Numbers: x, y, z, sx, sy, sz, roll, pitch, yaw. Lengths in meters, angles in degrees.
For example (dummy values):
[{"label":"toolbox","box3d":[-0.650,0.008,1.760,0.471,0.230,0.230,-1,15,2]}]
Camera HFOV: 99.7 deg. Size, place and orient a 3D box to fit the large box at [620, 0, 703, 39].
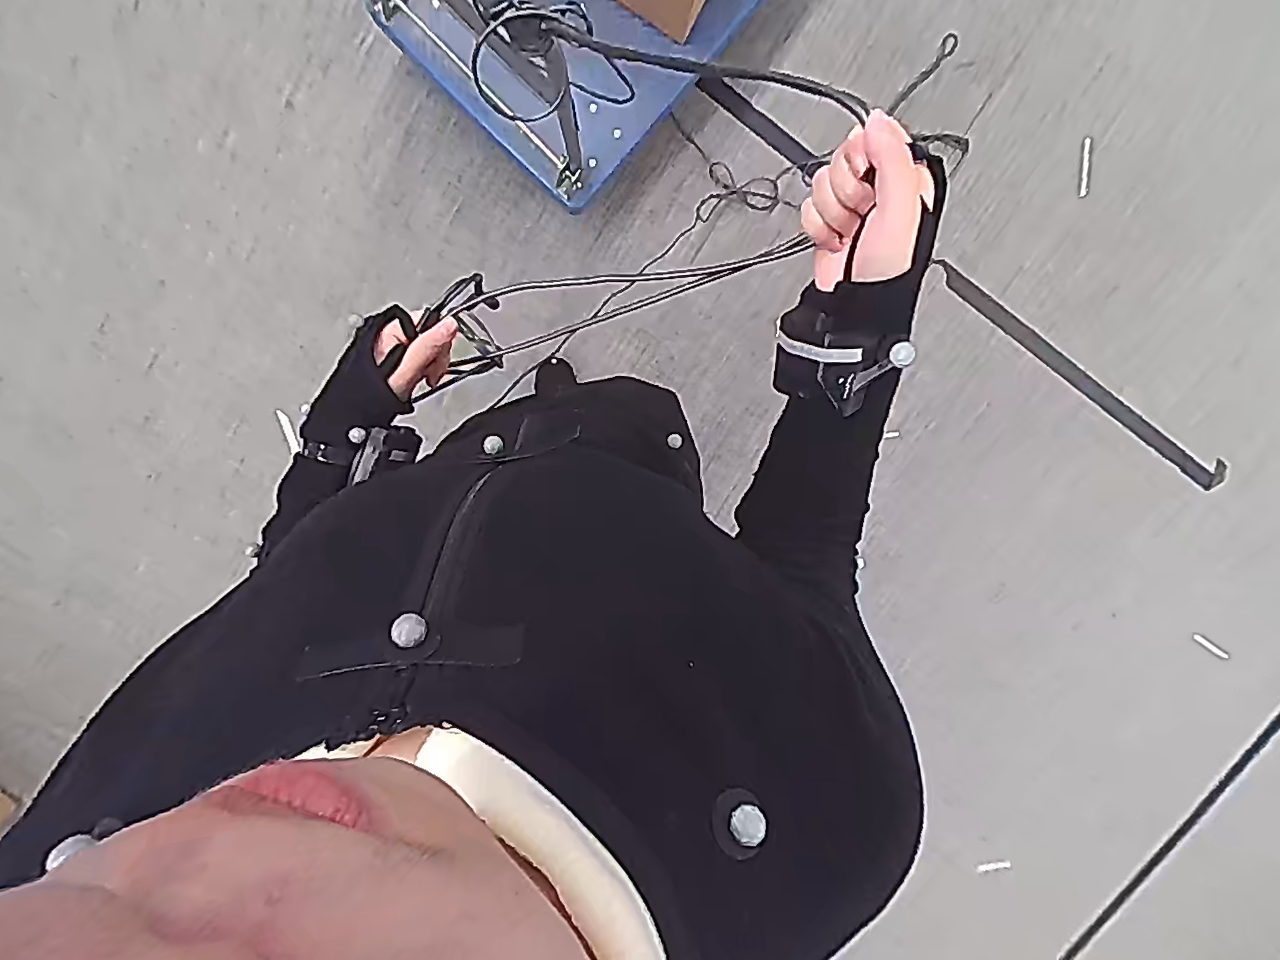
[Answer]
[{"label":"large box","box3d":[-0.002,-1.098,0.926,0.408,0.320,0.320,27,99,-10]}]
